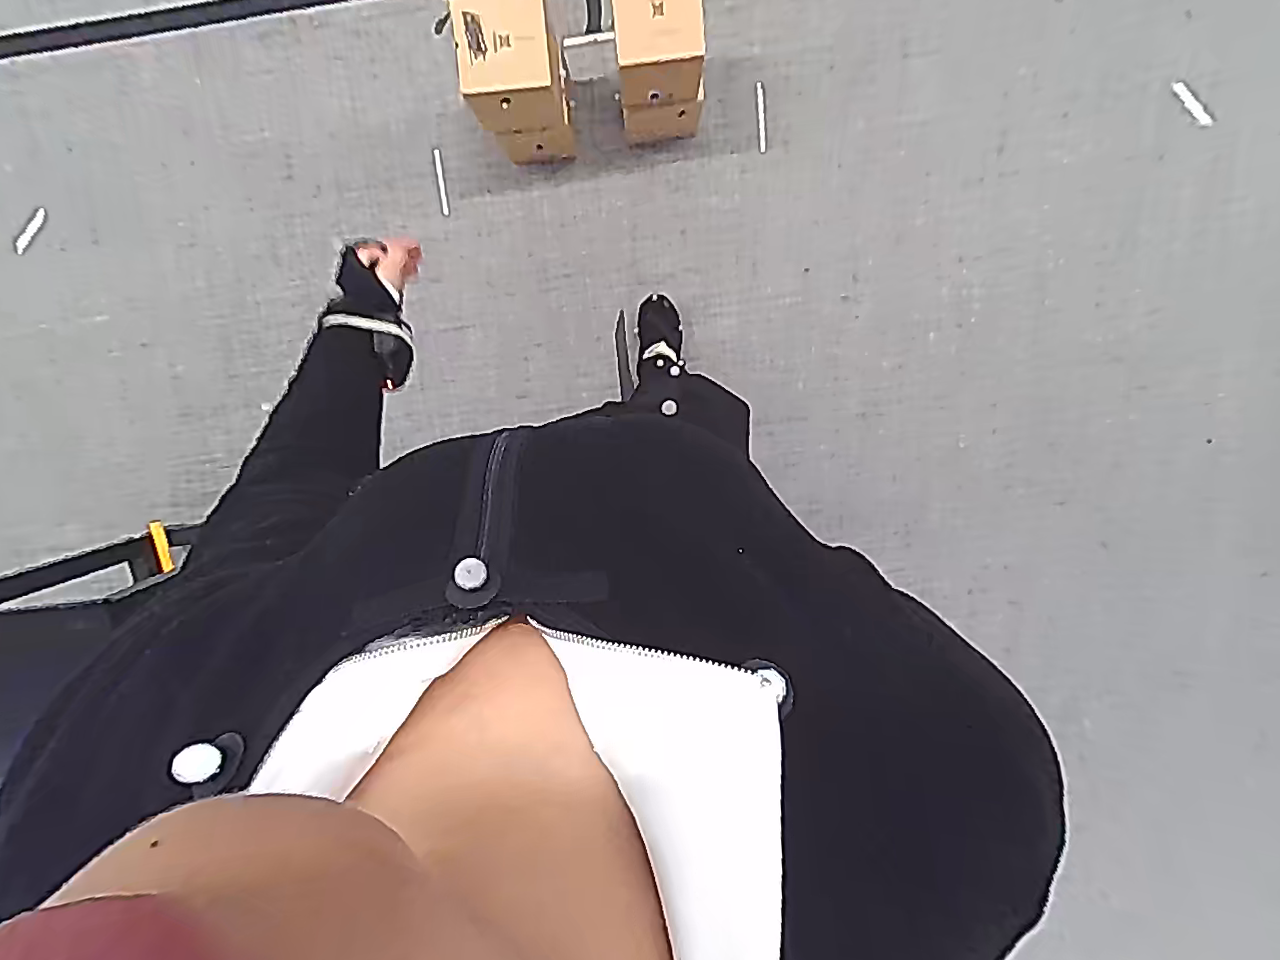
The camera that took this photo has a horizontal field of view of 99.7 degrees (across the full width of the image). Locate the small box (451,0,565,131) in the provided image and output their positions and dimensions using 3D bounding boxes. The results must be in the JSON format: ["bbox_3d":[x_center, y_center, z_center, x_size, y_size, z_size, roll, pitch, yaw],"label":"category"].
[{"bbox_3d":[-0.255,-0.824,1.079,0.179,0.176,0.168,-3,100,2],"label":"small box"}]

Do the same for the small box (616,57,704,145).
[{"bbox_3d":[0.042,-0.895,1.231,0.179,0.176,0.168,-7,101,2],"label":"small box"}]

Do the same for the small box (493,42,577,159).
[{"bbox_3d":[-0.243,-0.860,1.242,0.168,0.176,0.179,-4,101,2],"label":"small box"}]

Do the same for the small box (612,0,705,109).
[{"bbox_3d":[0.033,-0.875,1.069,0.168,0.176,0.179,-5,102,3],"label":"small box"}]
